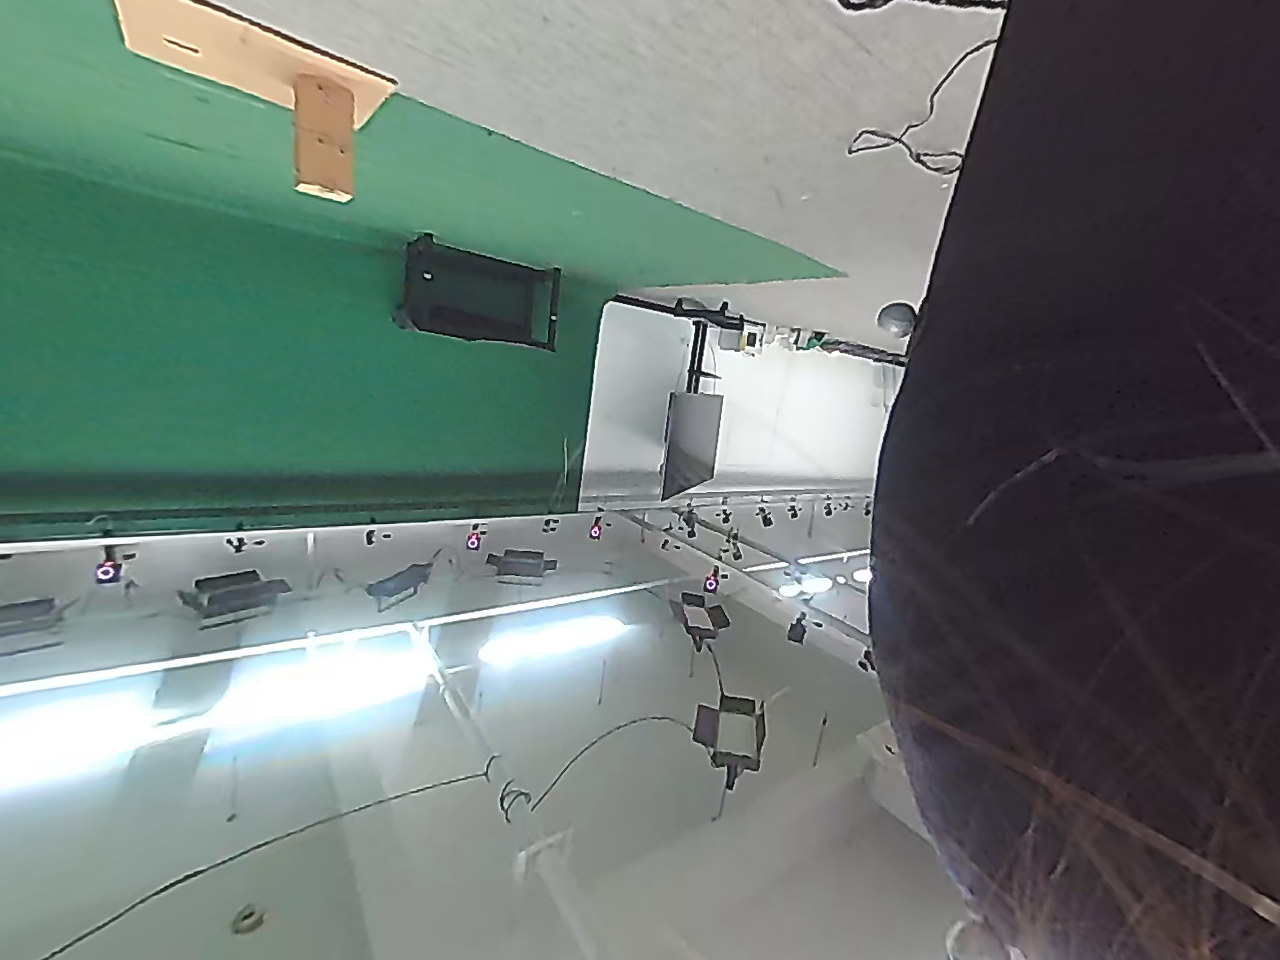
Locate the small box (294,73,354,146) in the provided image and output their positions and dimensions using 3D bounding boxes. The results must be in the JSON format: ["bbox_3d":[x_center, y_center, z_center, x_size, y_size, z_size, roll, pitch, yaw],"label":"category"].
[{"bbox_3d":[-1.123,-1.297,1.920,0.168,0.176,0.179,-3,-165,-38],"label":"small box"}]

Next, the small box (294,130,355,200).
[{"bbox_3d":[-1.143,-1.138,1.955,0.168,0.176,0.179,-3,-163,-39],"label":"small box"}]
